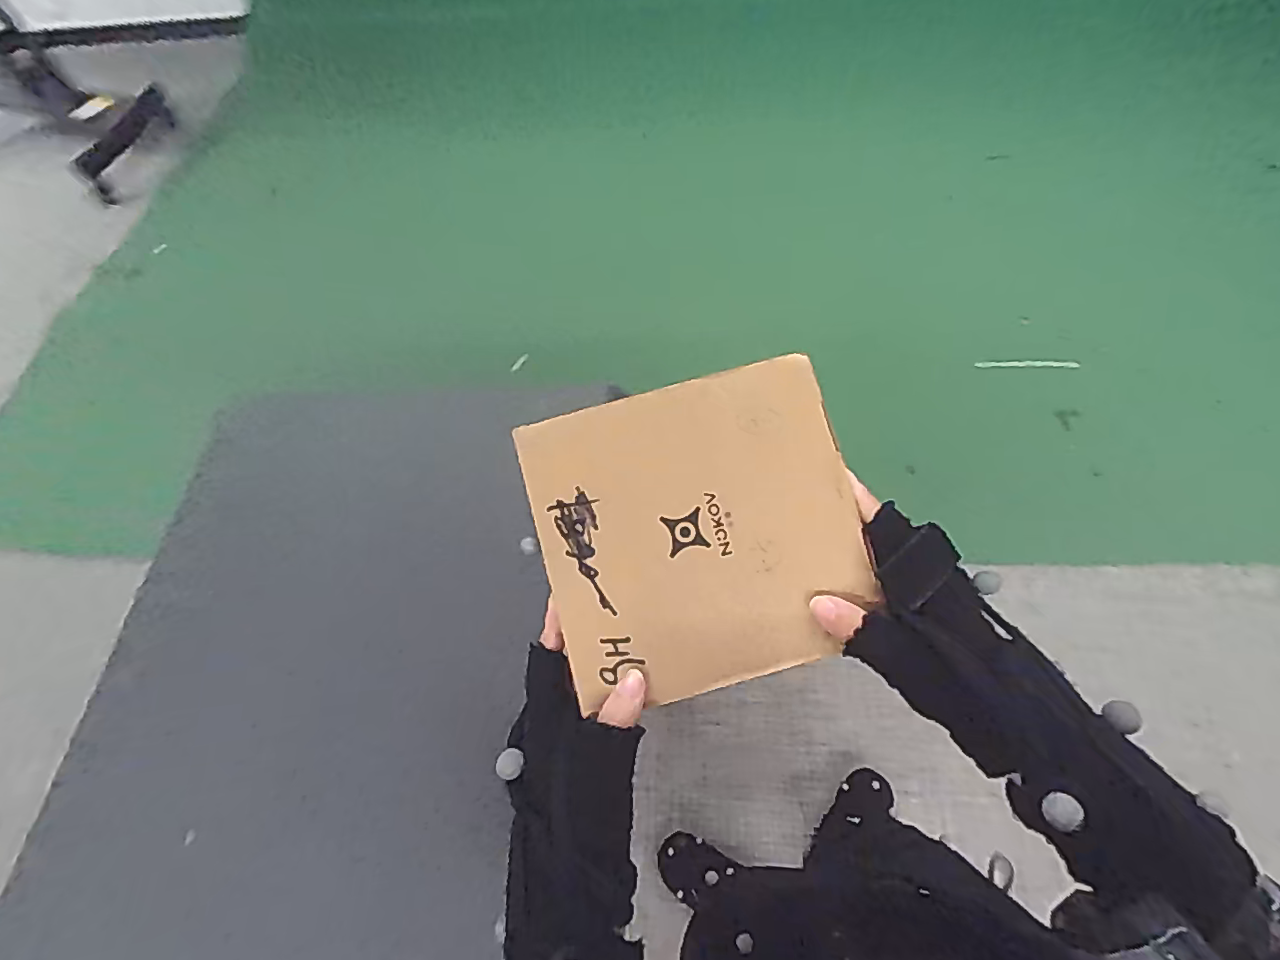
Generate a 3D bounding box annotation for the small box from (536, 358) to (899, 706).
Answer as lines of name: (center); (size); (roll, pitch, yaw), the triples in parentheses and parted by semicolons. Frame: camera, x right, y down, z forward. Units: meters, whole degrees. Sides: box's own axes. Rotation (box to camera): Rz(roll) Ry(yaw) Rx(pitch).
small box: (0.040, 0.035, 0.380); (0.179, 0.176, 0.168); (-13, 82, -2)
